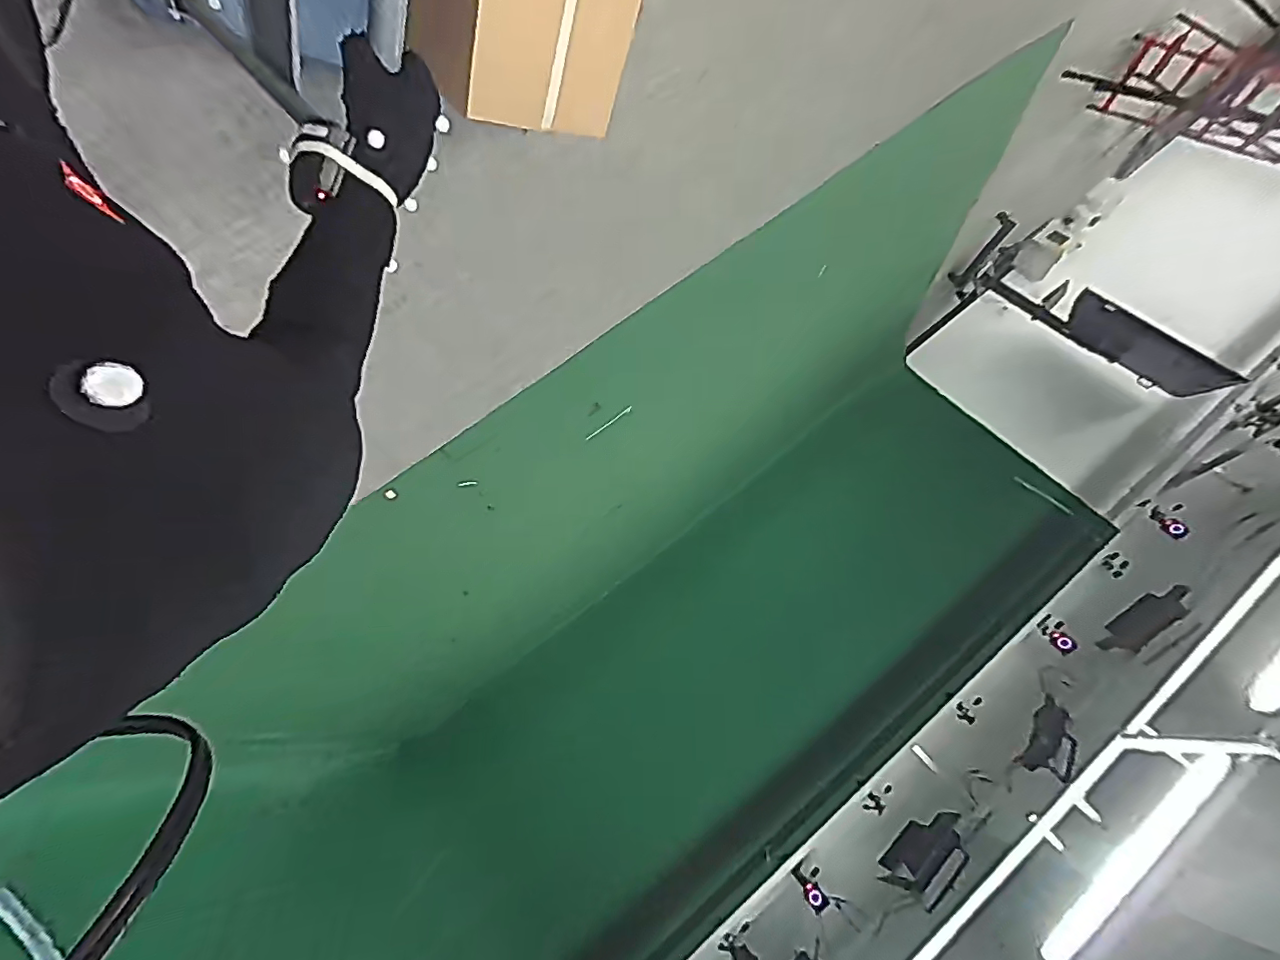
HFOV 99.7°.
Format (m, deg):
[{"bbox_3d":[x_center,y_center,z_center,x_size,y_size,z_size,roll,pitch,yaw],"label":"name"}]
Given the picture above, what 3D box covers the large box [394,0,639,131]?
[{"bbox_3d":[-0.207,-0.896,0.929,0.320,0.320,0.408,-23,150,-40],"label":"large box"}]
